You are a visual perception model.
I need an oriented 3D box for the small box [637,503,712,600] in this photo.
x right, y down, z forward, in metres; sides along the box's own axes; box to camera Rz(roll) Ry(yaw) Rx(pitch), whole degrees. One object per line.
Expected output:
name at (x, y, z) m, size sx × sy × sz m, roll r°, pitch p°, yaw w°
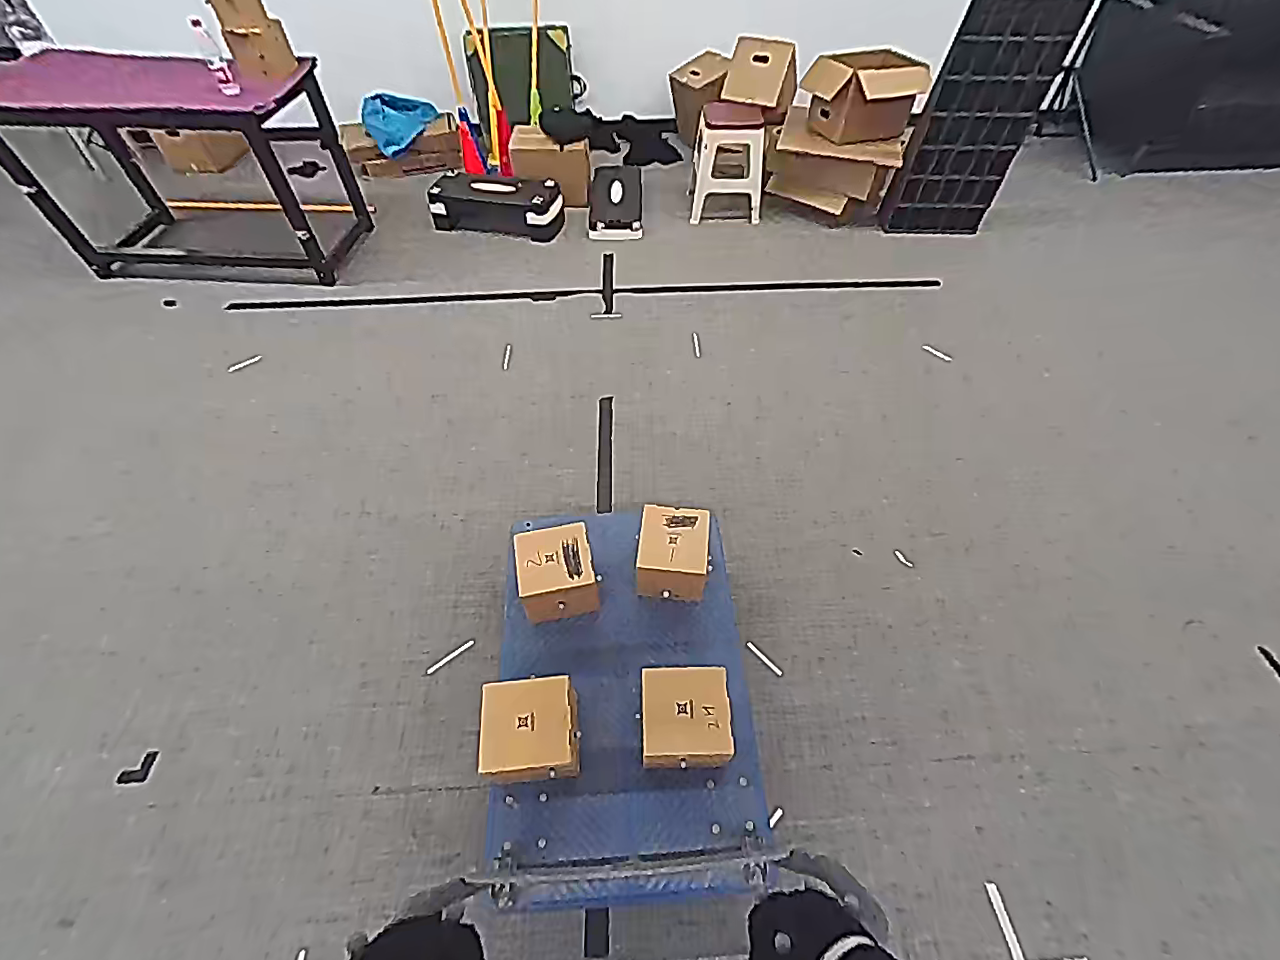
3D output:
small box at (0.083, 0.180, 1.350) m, size 0.168 × 0.176 × 0.179 m, roll 6°, pitch 56°, yaw 4°

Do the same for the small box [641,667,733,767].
small box at (0.091, 0.498, 1.130) m, size 0.179 × 0.176 × 0.168 m, roll 0°, pitch 56°, yaw 0°

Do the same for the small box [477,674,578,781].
small box at (-0.225, 0.515, 1.118) m, size 0.179 × 0.176 × 0.168 m, roll -4°, pitch 55°, yaw -5°
